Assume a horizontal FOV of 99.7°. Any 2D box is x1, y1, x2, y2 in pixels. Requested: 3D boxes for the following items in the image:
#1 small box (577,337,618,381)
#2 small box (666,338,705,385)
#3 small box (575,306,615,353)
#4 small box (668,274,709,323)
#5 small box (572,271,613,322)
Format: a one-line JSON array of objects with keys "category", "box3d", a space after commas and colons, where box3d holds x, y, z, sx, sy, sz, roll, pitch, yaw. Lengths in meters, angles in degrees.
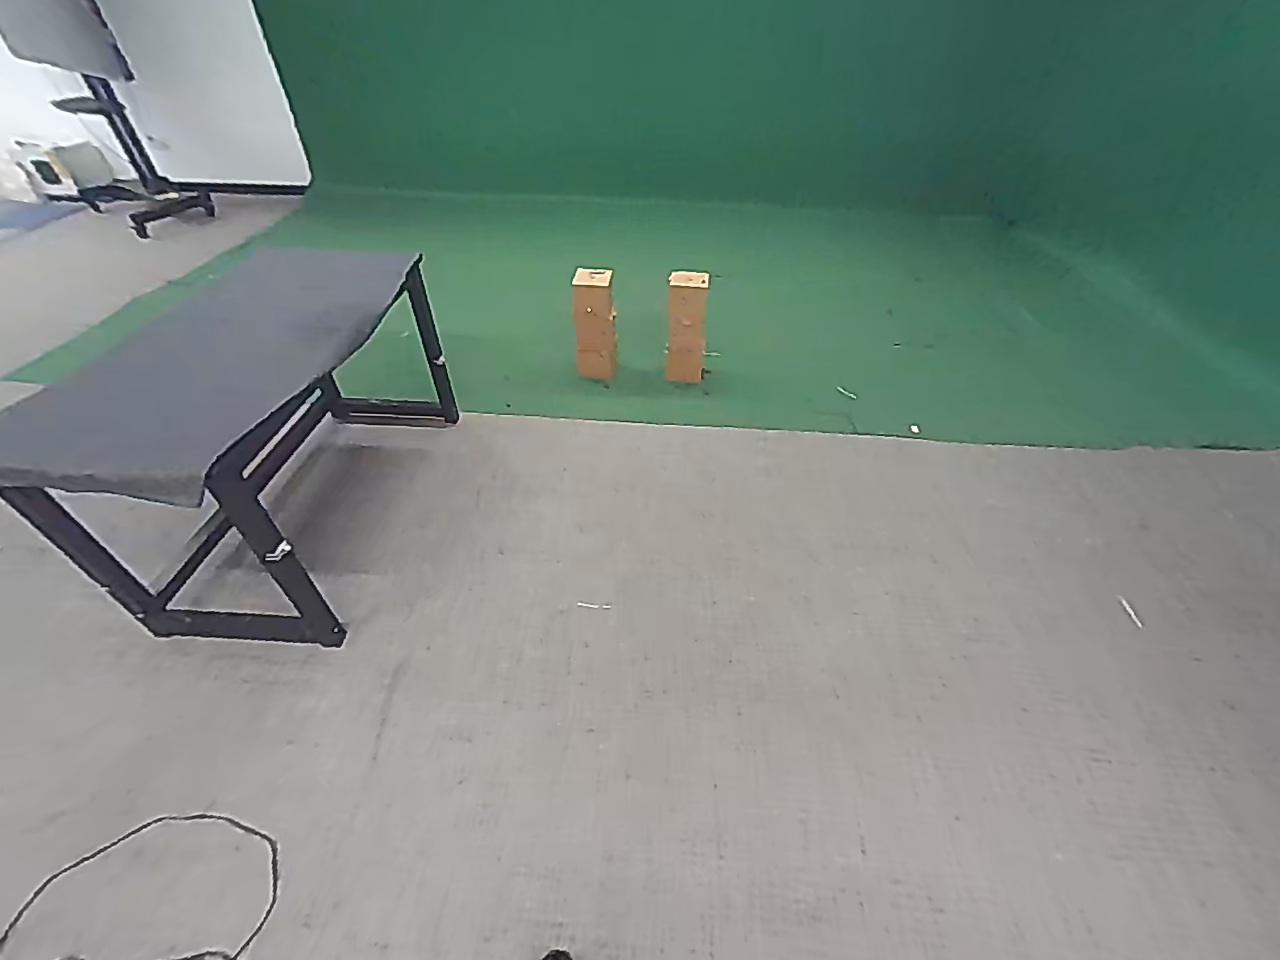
[{"category": "small box", "box3d": [-0.212, -0.619, 2.740, 0.179, 0.176, 0.168, 7, 43, 7]}, {"category": "small box", "box3d": [0.230, -0.598, 2.729, 0.179, 0.176, 0.168, 6, 44, 6]}, {"category": "small box", "box3d": [-0.212, -0.730, 2.621, 0.179, 0.176, 0.168, 1, 42, 1]}, {"category": "small box", "box3d": [0.223, -0.840, 2.507, 0.179, 0.176, 0.168, 5, 43, 5]}, {"category": "small box", "box3d": [-0.216, -0.854, 2.513, 0.168, 0.176, 0.179, 4, 43, 3]}]
